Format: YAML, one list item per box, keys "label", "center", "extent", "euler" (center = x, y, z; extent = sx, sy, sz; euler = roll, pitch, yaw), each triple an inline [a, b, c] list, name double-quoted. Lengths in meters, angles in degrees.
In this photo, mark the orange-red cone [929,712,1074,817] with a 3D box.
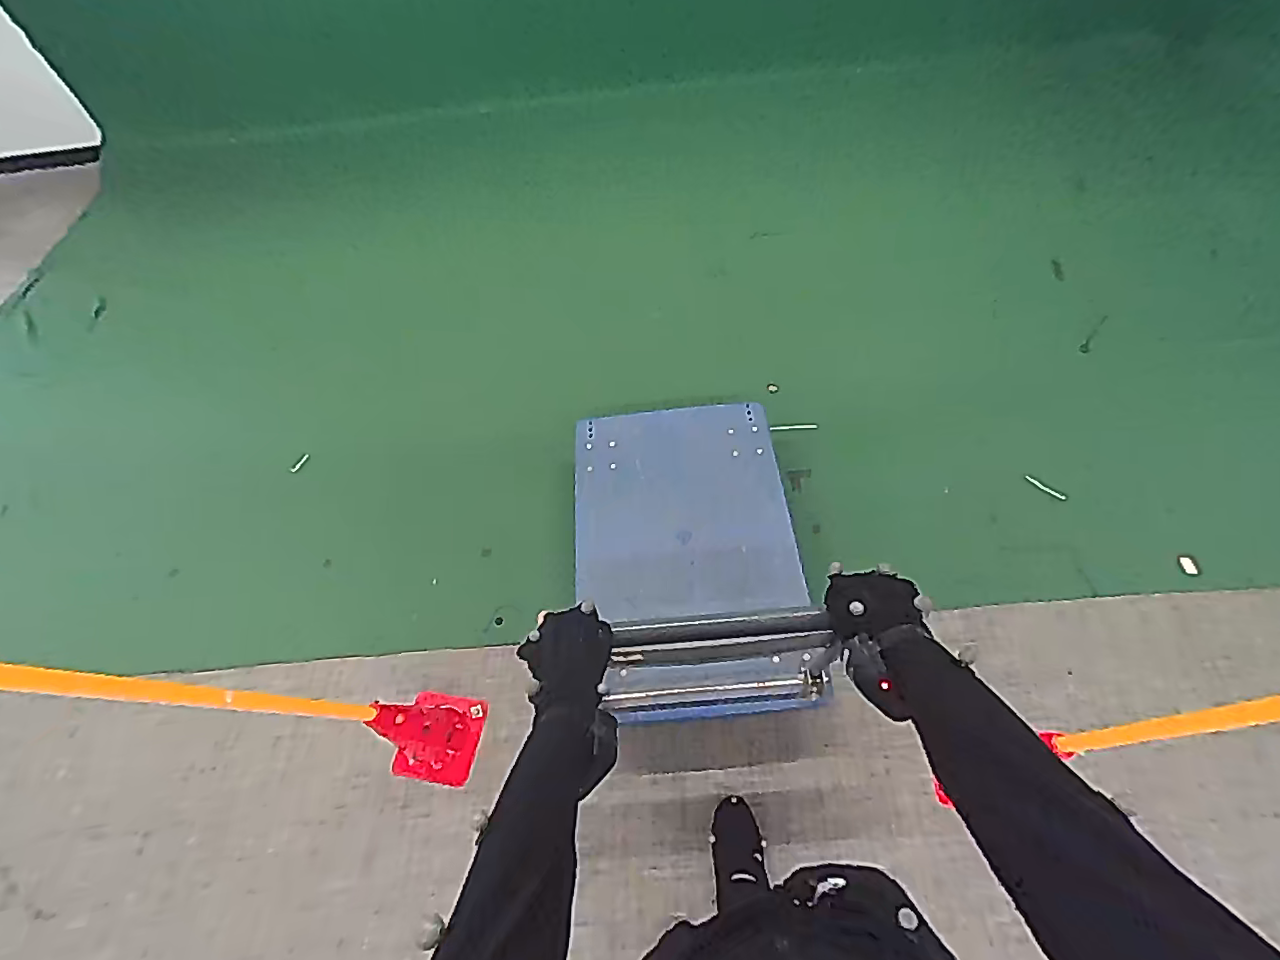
- label: "orange-red cone"
  center: [0.762, 0.560, 1.099]
  extent: [0.198, 0.360, 0.199]
  euler: [4, 60, 9]
